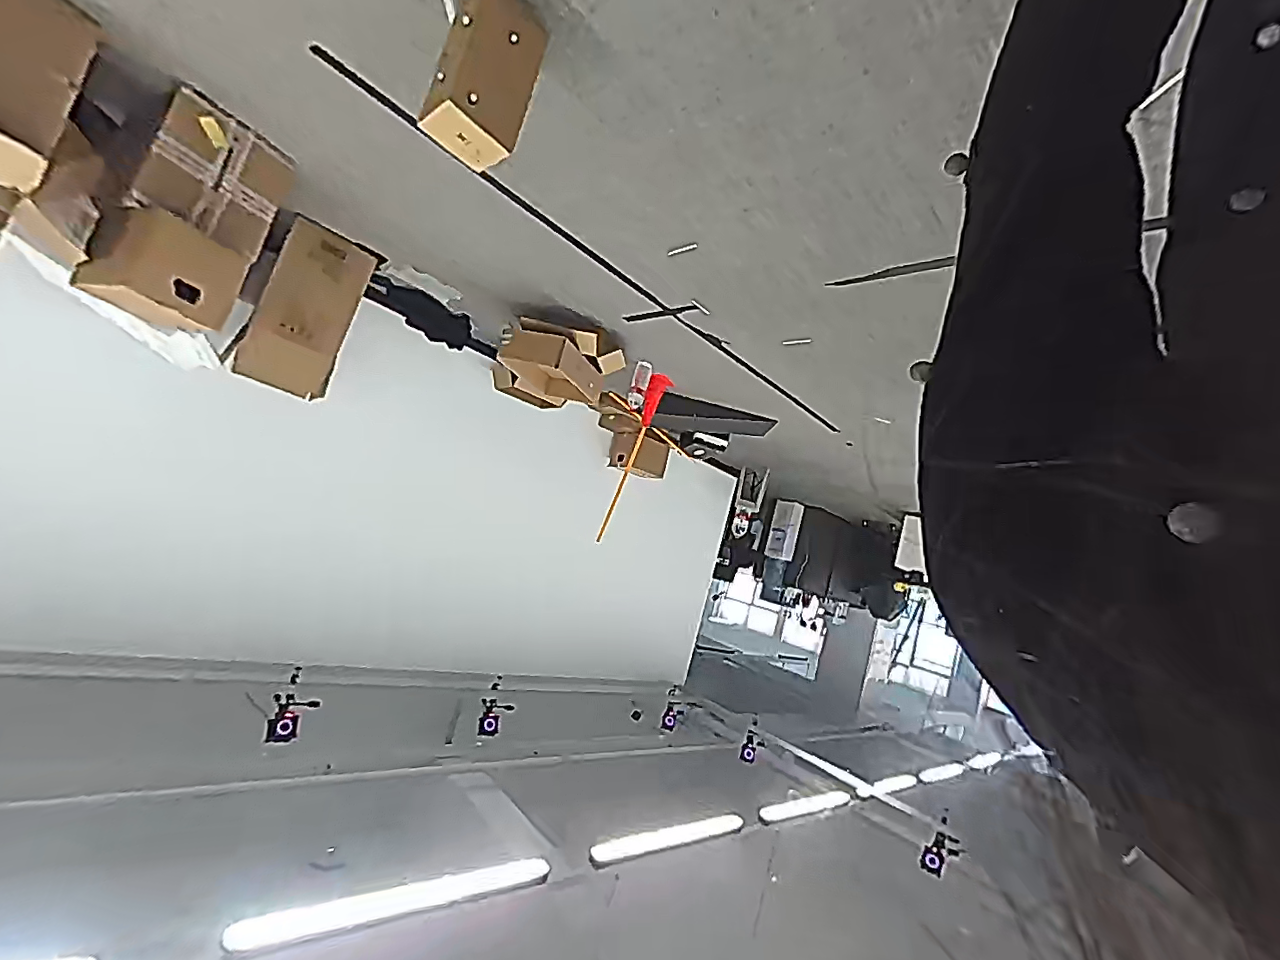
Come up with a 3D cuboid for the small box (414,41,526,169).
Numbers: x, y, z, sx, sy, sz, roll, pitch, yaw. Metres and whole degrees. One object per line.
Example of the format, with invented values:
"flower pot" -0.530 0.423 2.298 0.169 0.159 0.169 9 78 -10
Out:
"small box" -0.404 -0.898 1.295 0.168 0.176 0.179 10 173 44
